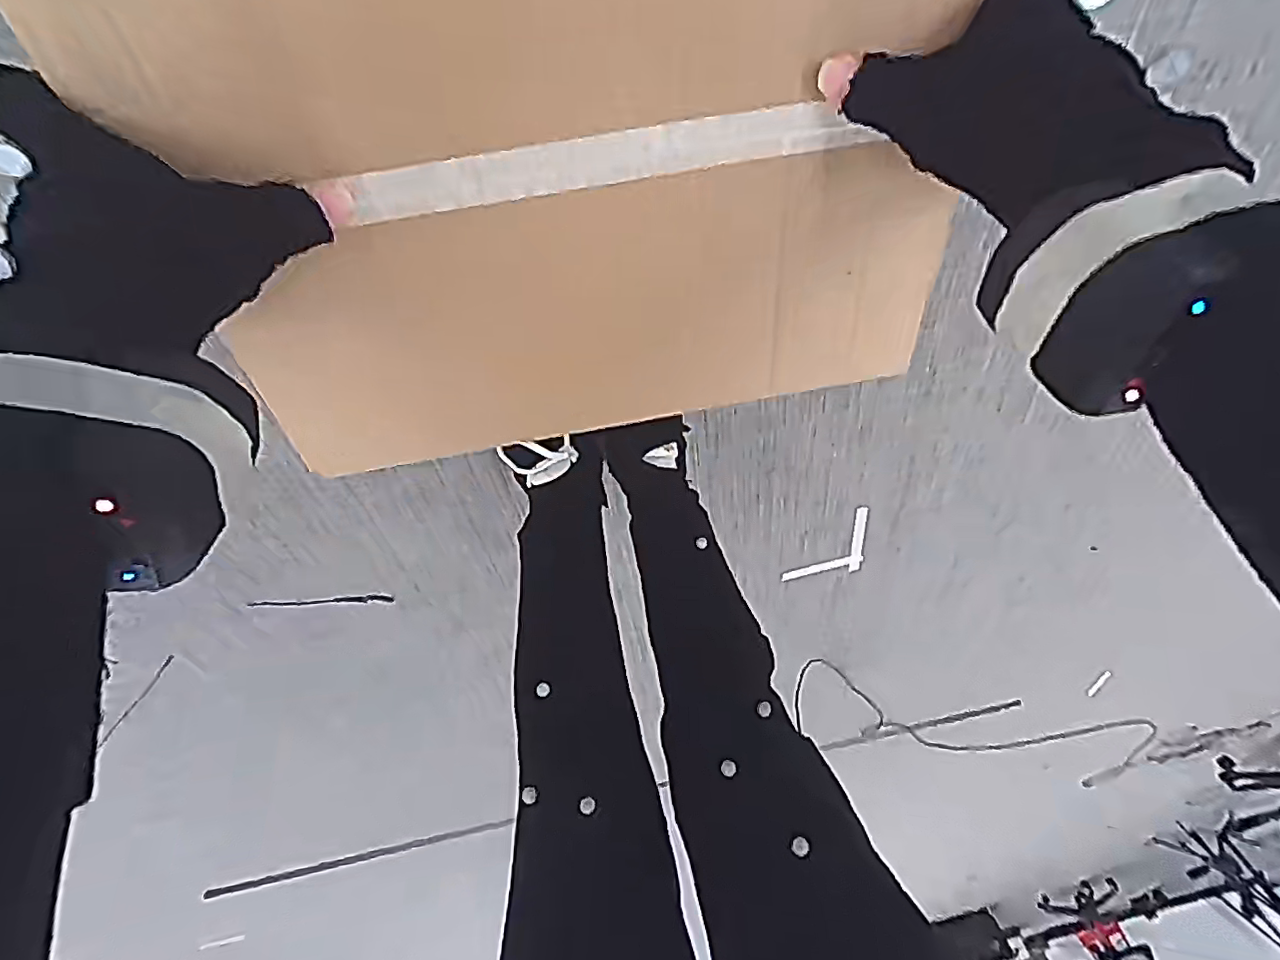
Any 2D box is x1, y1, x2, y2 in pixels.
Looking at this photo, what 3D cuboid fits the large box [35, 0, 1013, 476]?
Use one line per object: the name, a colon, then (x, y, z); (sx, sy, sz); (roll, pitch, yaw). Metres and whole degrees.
large box: (-0.047, -0.248, 0.378); (0.408, 0.320, 0.320); (-11, 133, -3)
